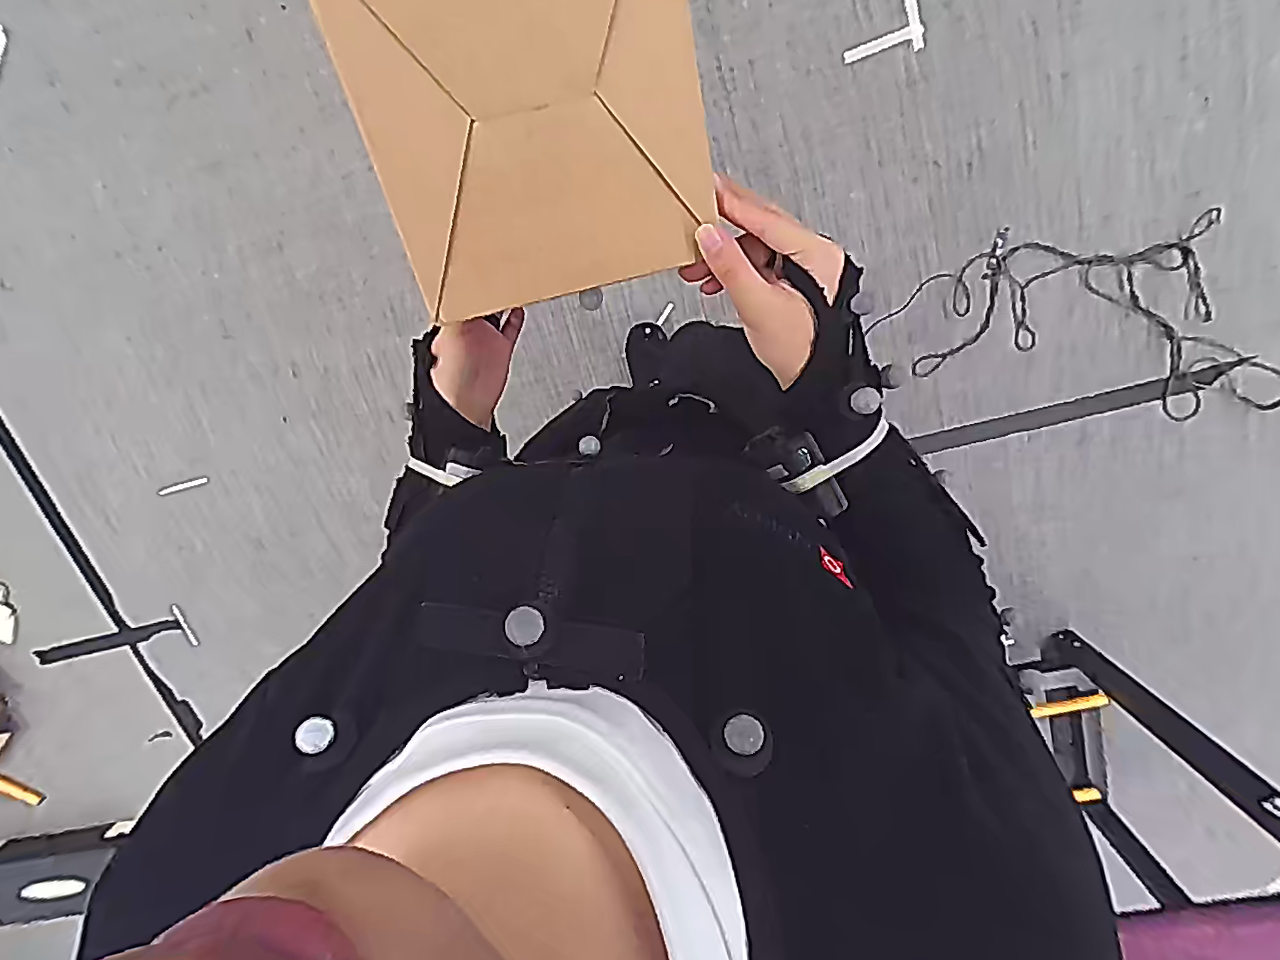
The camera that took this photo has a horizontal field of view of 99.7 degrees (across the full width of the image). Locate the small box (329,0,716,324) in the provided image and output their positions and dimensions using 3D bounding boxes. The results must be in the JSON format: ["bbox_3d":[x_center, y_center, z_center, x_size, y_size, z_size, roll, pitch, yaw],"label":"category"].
[{"bbox_3d":[-0.060,-0.212,0.338,0.168,0.176,0.179,-15,115,-2],"label":"small box"}]
